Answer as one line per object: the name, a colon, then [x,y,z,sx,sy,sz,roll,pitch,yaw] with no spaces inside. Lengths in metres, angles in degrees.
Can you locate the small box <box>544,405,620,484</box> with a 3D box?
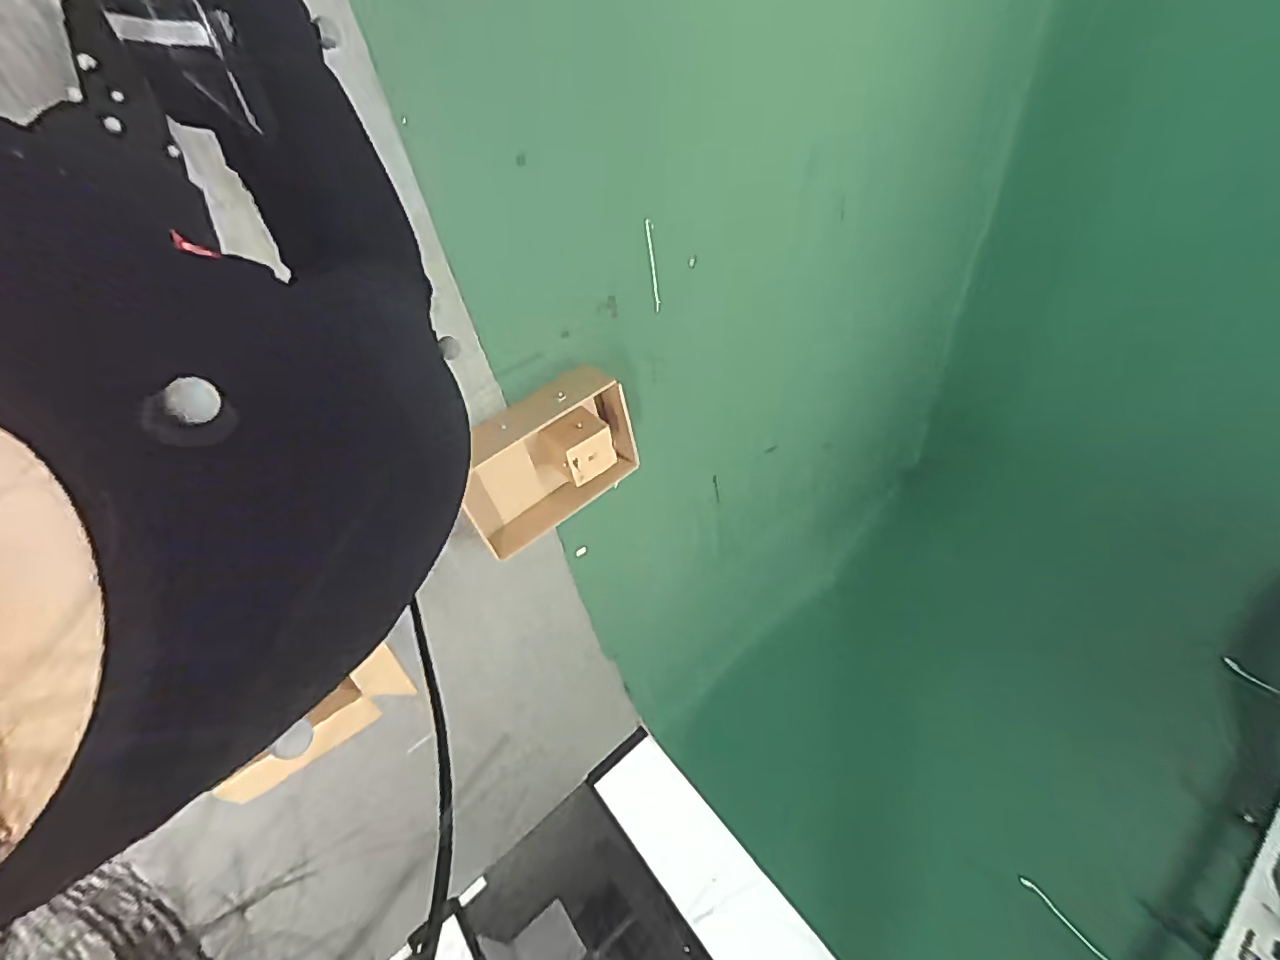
small box: [-0.195,-0.125,1.829,0.179,0.176,0.168,-34,139,-20]
